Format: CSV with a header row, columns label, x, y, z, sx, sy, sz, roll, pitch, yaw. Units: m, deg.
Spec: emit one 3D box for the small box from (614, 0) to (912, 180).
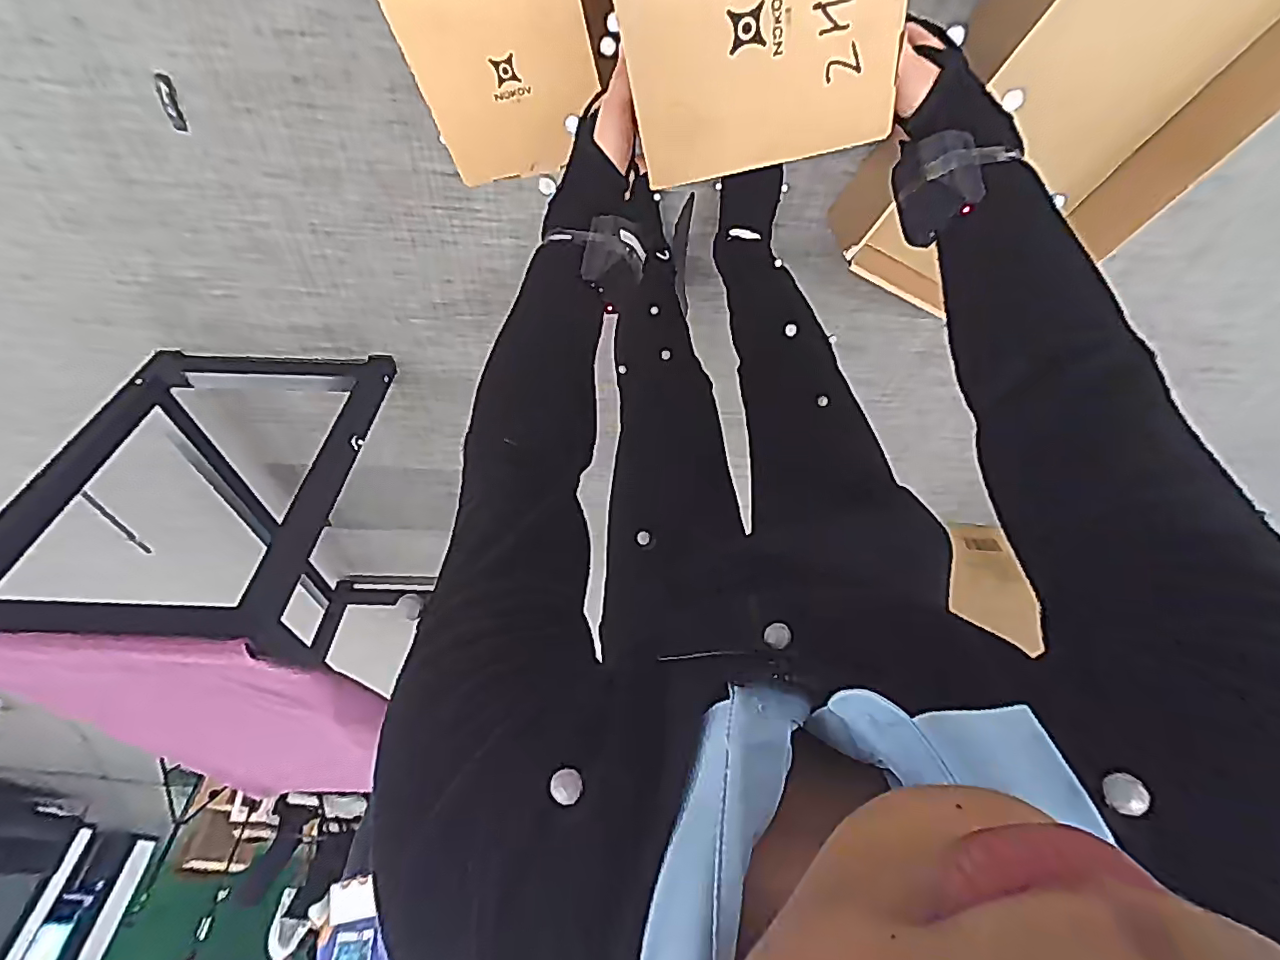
label,x,y,z,sx,sy,sz,roll,pitch,yaw
small box,0.078,-0.344,0.378,0.179,0.176,0.168,-7,141,10
